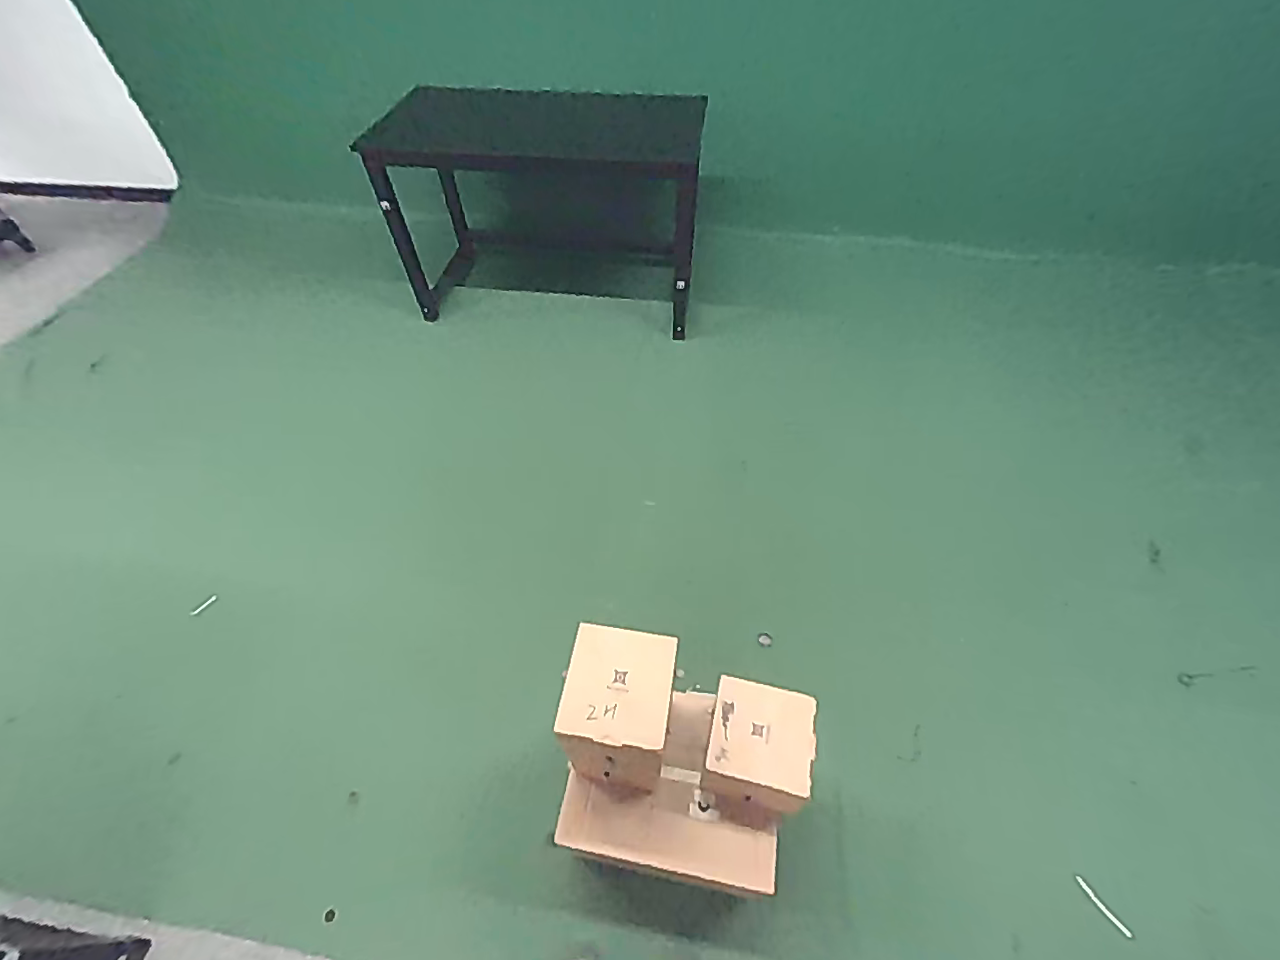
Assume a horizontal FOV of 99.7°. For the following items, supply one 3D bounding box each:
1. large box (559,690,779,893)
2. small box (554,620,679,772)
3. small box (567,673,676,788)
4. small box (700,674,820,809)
[{"bbox_3d":[0.070,0.660,1.165,0.408,0.320,0.320,8,53,7],"label":"large box"},{"bbox_3d":[-0.031,0.356,0.889,0.168,0.176,0.179,7,52,7],"label":"small box"},{"bbox_3d":[-0.030,0.457,1.020,0.168,0.176,0.179,8,52,7],"label":"small box"},{"bbox_3d":[0.215,0.482,0.988,0.179,0.176,0.168,12,52,11],"label":"small box"}]
